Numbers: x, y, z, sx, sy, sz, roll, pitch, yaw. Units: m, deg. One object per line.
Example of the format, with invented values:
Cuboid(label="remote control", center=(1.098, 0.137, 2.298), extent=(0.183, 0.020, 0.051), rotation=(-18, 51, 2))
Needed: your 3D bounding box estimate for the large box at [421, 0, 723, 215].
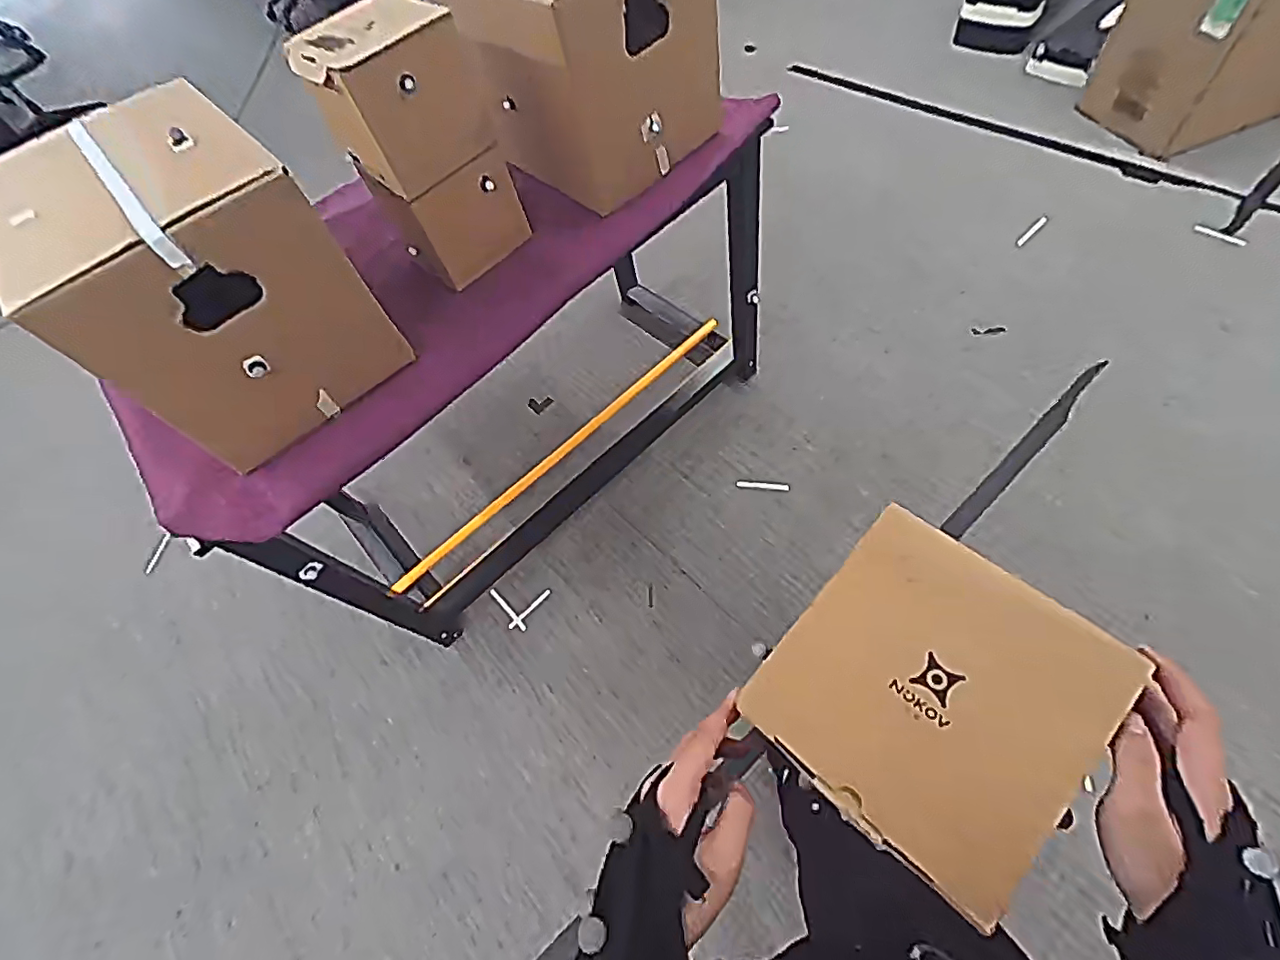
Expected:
Cuboid(label="large box", center=(-0.108, -0.742, 0.950), extent=(0.320, 0.320, 0.408), rotation=(-42, 61, -14))
